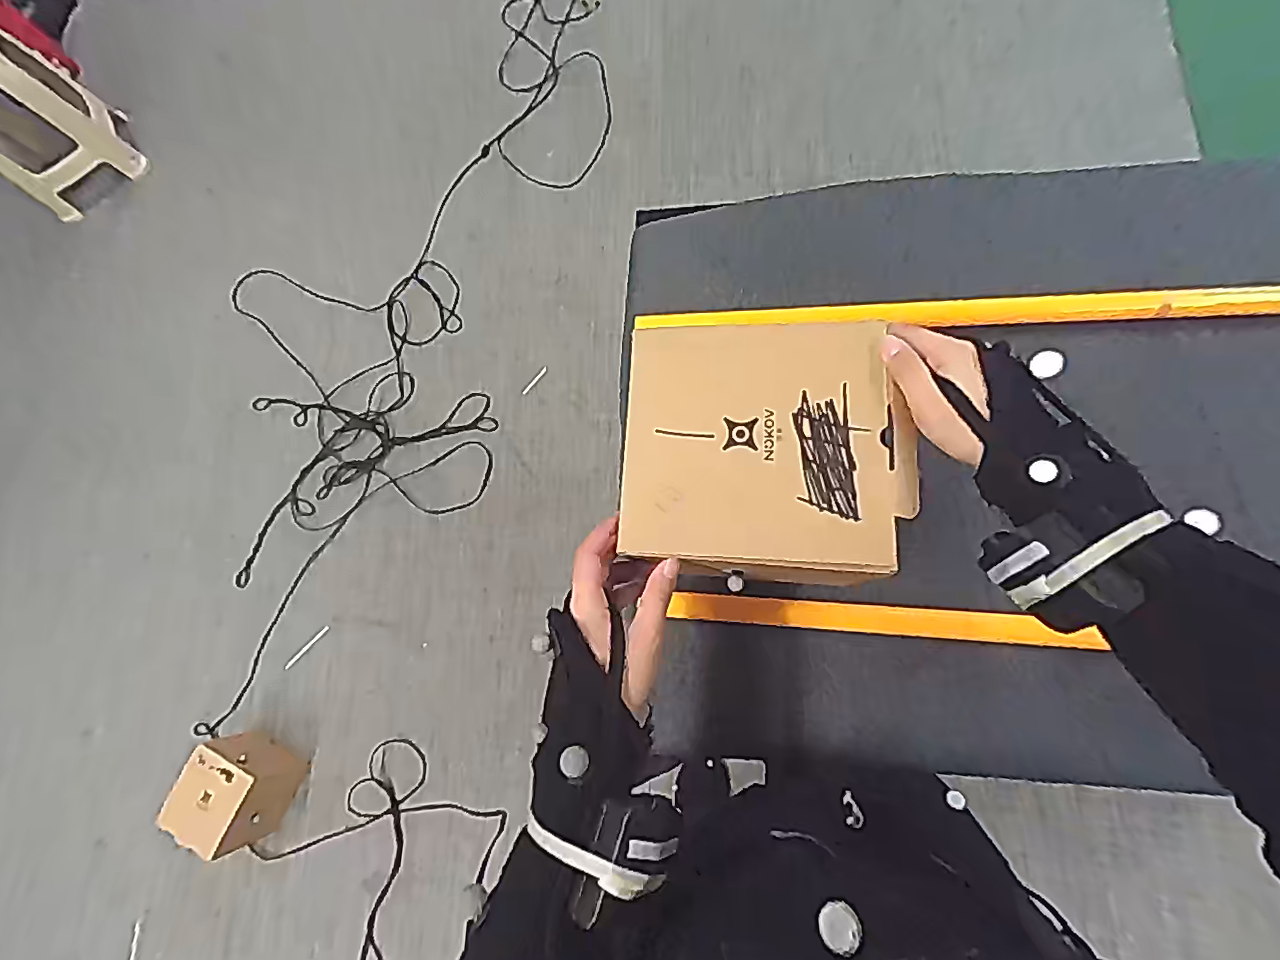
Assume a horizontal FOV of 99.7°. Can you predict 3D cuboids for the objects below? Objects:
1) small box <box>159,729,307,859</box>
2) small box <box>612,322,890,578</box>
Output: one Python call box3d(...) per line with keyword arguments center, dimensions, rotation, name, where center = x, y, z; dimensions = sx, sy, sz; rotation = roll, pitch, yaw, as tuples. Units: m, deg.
box3d(center=(-0.899, 0.690, 1.212), dimensions=(0.168, 0.176, 0.179), rotation=(22, 80, 14), name="small box")
box3d(center=(0.087, -0.012, 0.437), dimensions=(0.179, 0.176, 0.168), rotation=(2, 77, 12), name="small box")
